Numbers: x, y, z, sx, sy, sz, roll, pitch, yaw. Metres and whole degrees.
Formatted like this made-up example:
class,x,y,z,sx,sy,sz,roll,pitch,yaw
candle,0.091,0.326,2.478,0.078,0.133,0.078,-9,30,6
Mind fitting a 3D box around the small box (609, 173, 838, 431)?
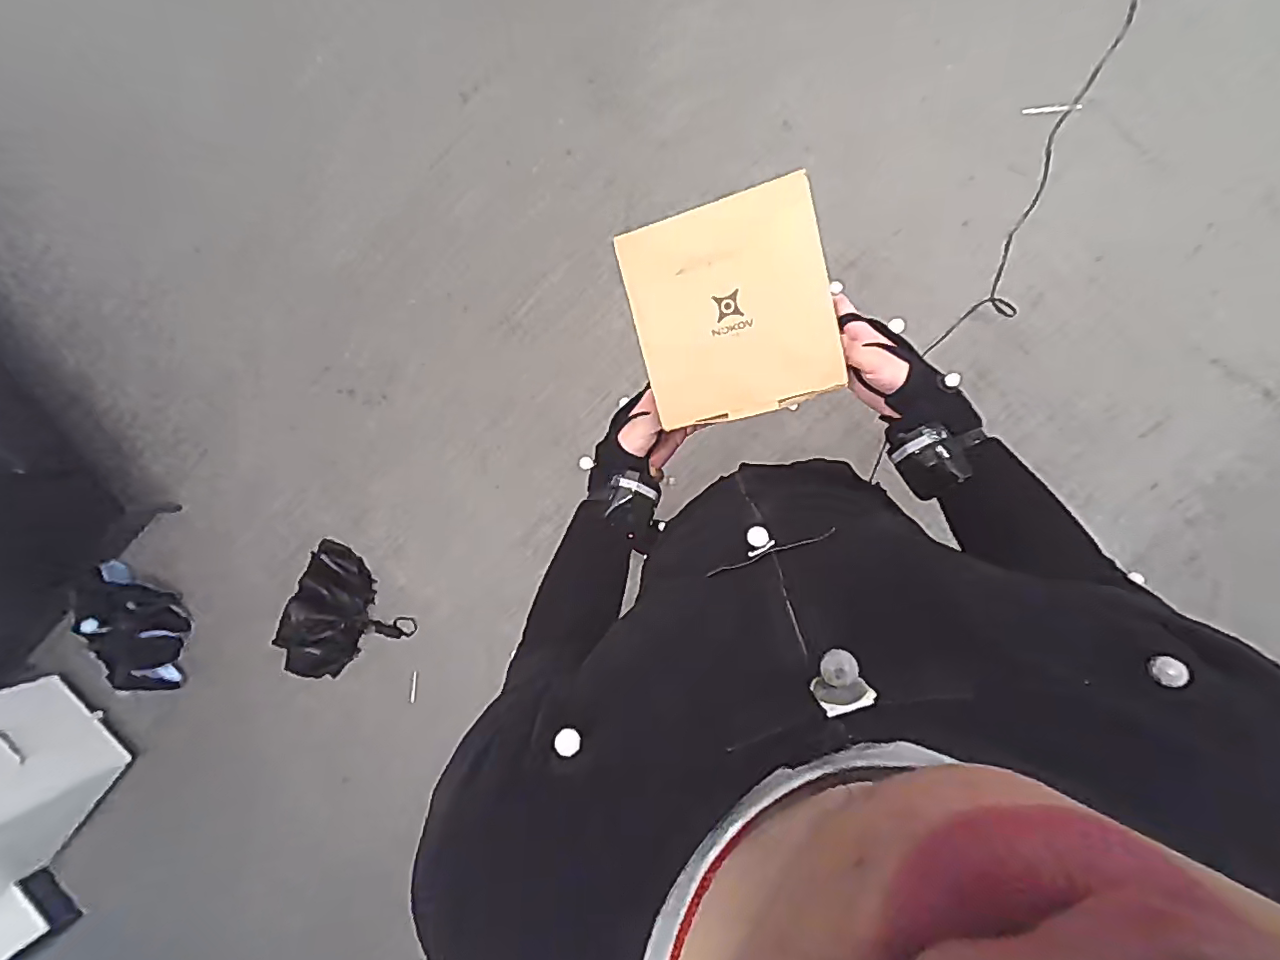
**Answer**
class,x,y,z,sx,sy,sz,roll,pitch,yaw
small box,0.089,-0.161,0.532,0.168,0.176,0.179,-13,99,16
